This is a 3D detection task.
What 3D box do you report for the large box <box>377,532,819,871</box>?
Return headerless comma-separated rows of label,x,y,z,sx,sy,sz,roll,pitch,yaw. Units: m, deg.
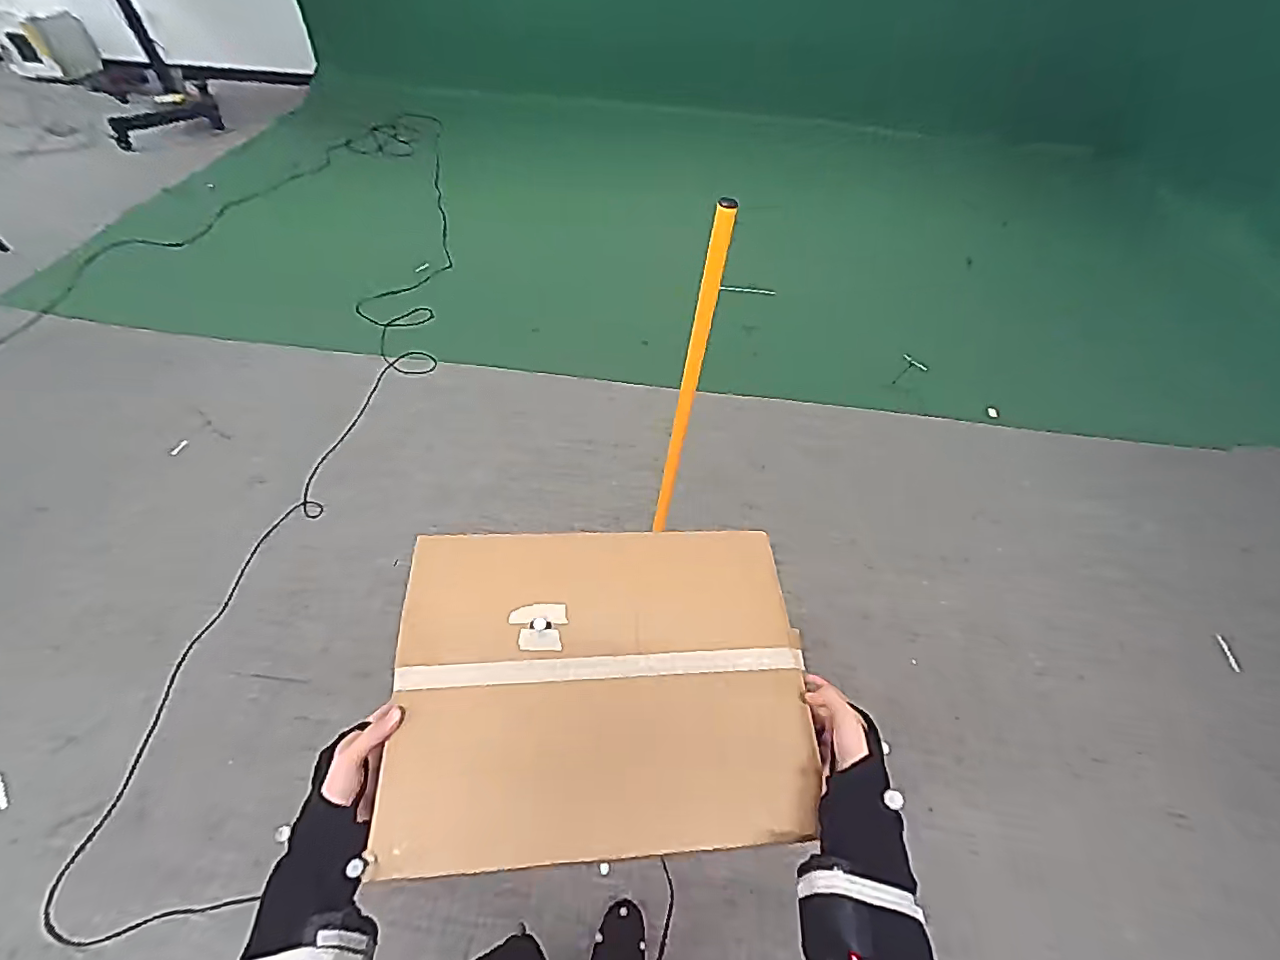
large box,-0.052,0.276,0.684,0.408,0.320,0.320,0,56,-7
